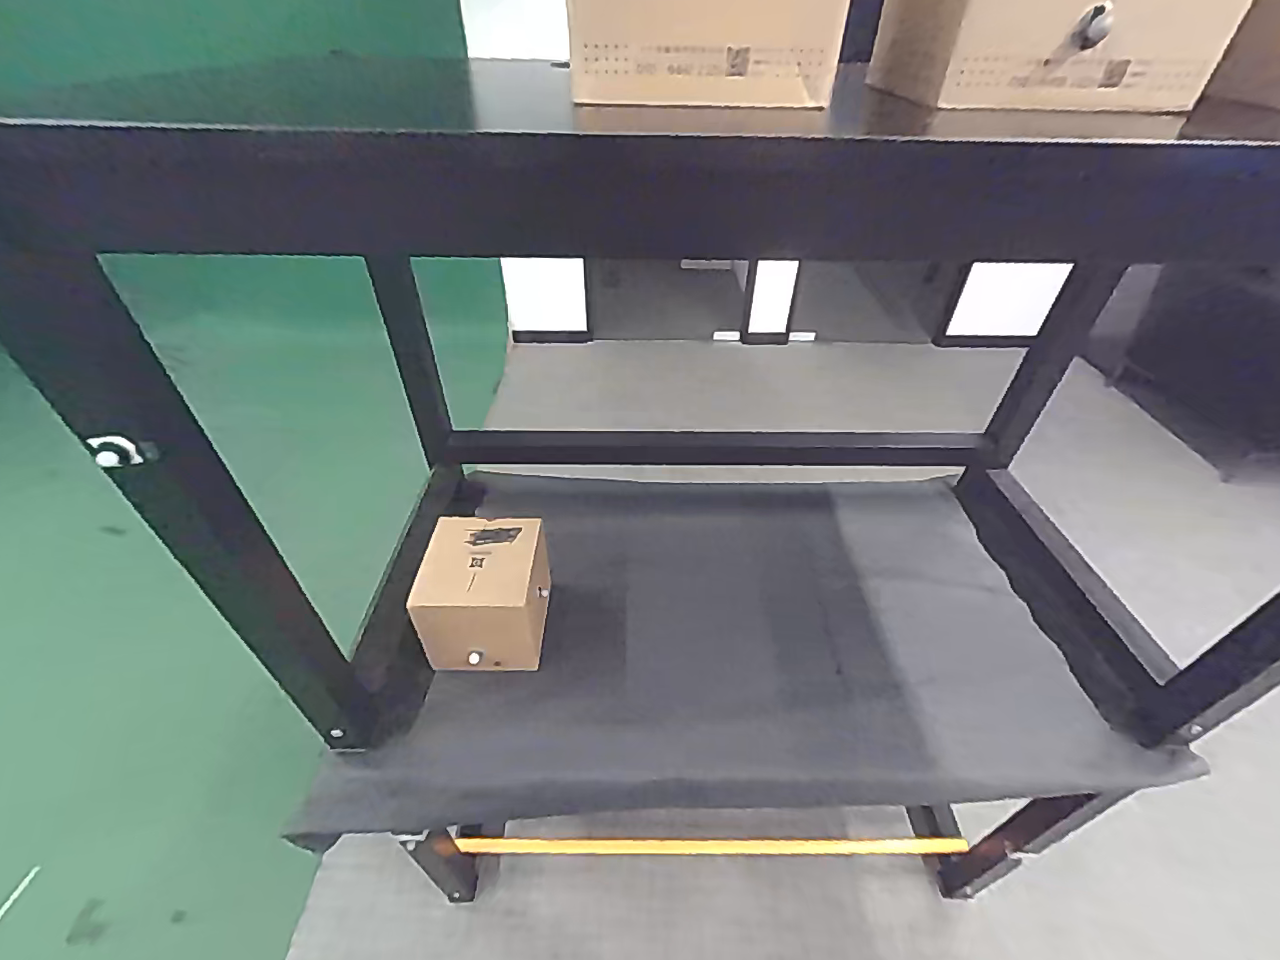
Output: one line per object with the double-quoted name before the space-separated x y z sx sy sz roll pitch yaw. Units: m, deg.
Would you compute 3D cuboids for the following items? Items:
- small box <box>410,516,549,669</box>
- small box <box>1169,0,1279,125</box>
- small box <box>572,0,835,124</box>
"small box" -0.241 0.177 0.864 0.168 0.176 0.179 1 40 -1
"small box" 0.527 -0.334 0.355 0.168 0.176 0.179 8 40 8
"small box" 0.040 -0.356 0.375 0.168 0.176 0.179 1 40 -1
